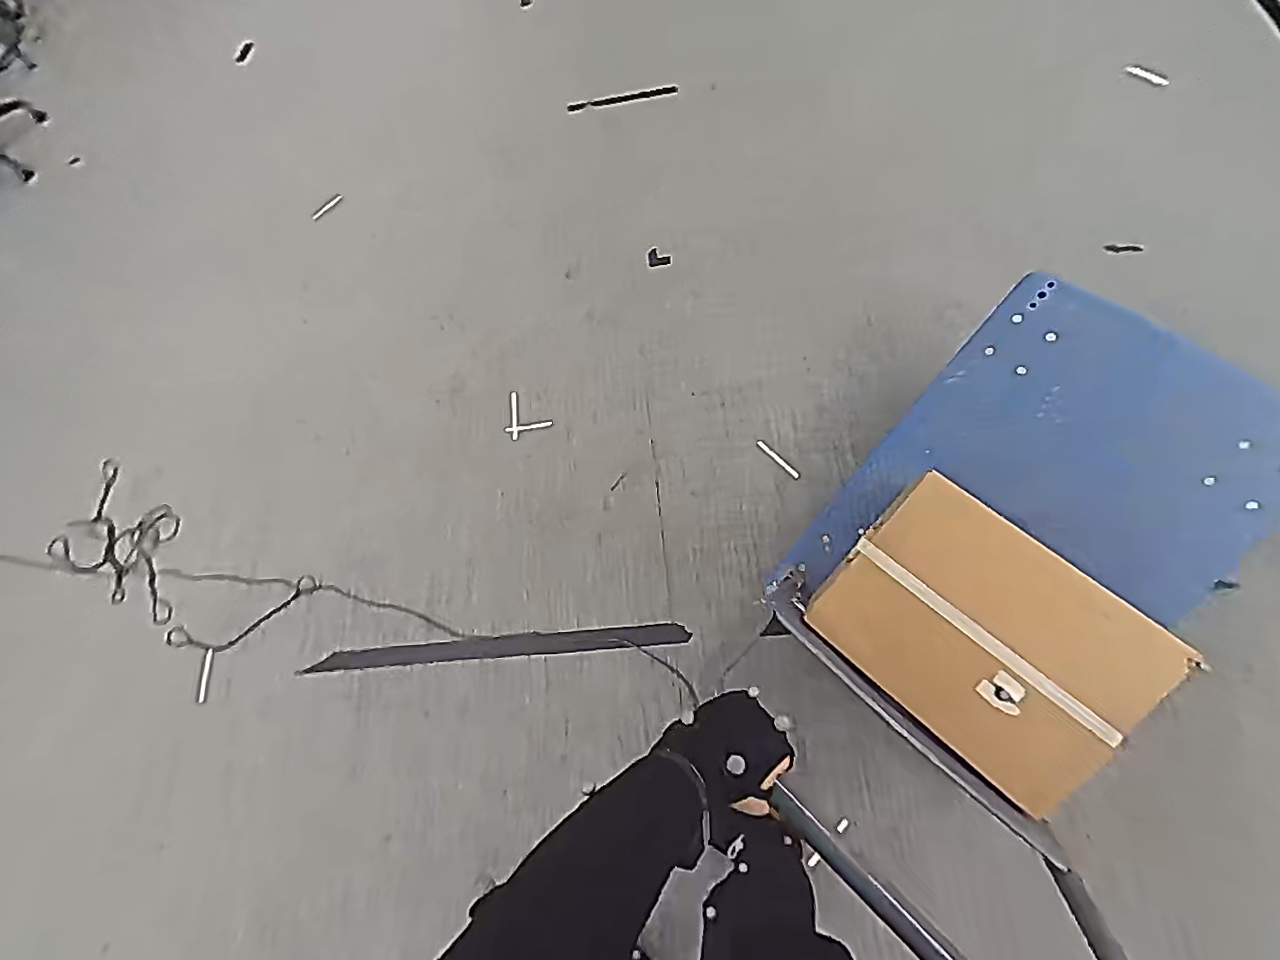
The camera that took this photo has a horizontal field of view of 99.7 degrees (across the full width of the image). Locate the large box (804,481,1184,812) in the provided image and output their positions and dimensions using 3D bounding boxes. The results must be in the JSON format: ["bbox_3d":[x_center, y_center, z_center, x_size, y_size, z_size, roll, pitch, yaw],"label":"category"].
[{"bbox_3d":[0.546,0.250,0.948,0.408,0.320,0.320,40,98,18],"label":"large box"}]
